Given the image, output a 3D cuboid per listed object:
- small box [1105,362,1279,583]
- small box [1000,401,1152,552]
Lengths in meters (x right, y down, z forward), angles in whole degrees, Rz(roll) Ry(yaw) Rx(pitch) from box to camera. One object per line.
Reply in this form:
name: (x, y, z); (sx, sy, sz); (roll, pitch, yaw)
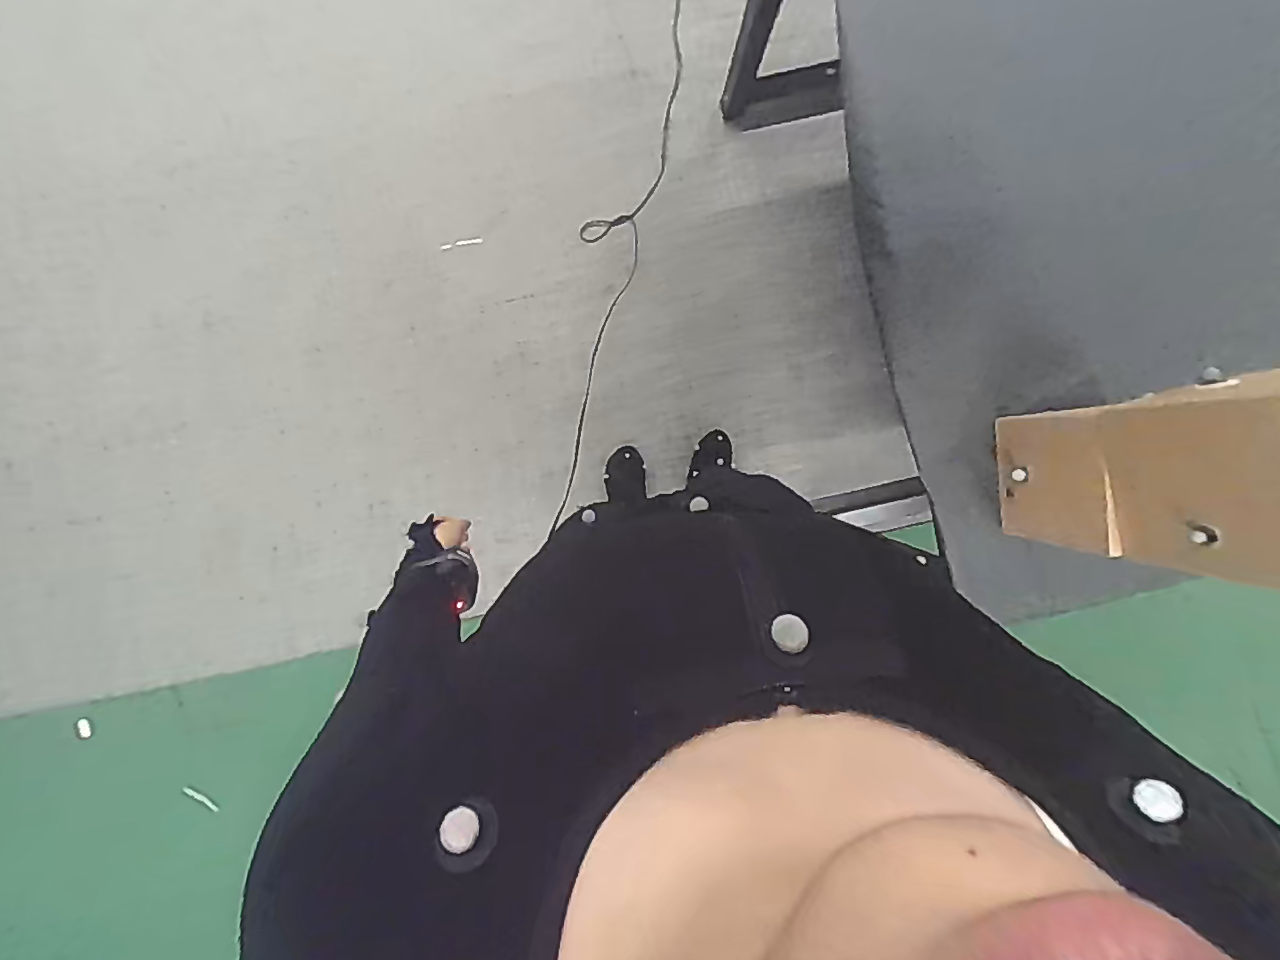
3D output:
small box: (0.599, -0.016, 0.509); (0.168, 0.176, 0.179); (-15, 92, -4)
small box: (0.592, -0.015, 0.671); (0.179, 0.176, 0.168); (-7, 93, -2)
